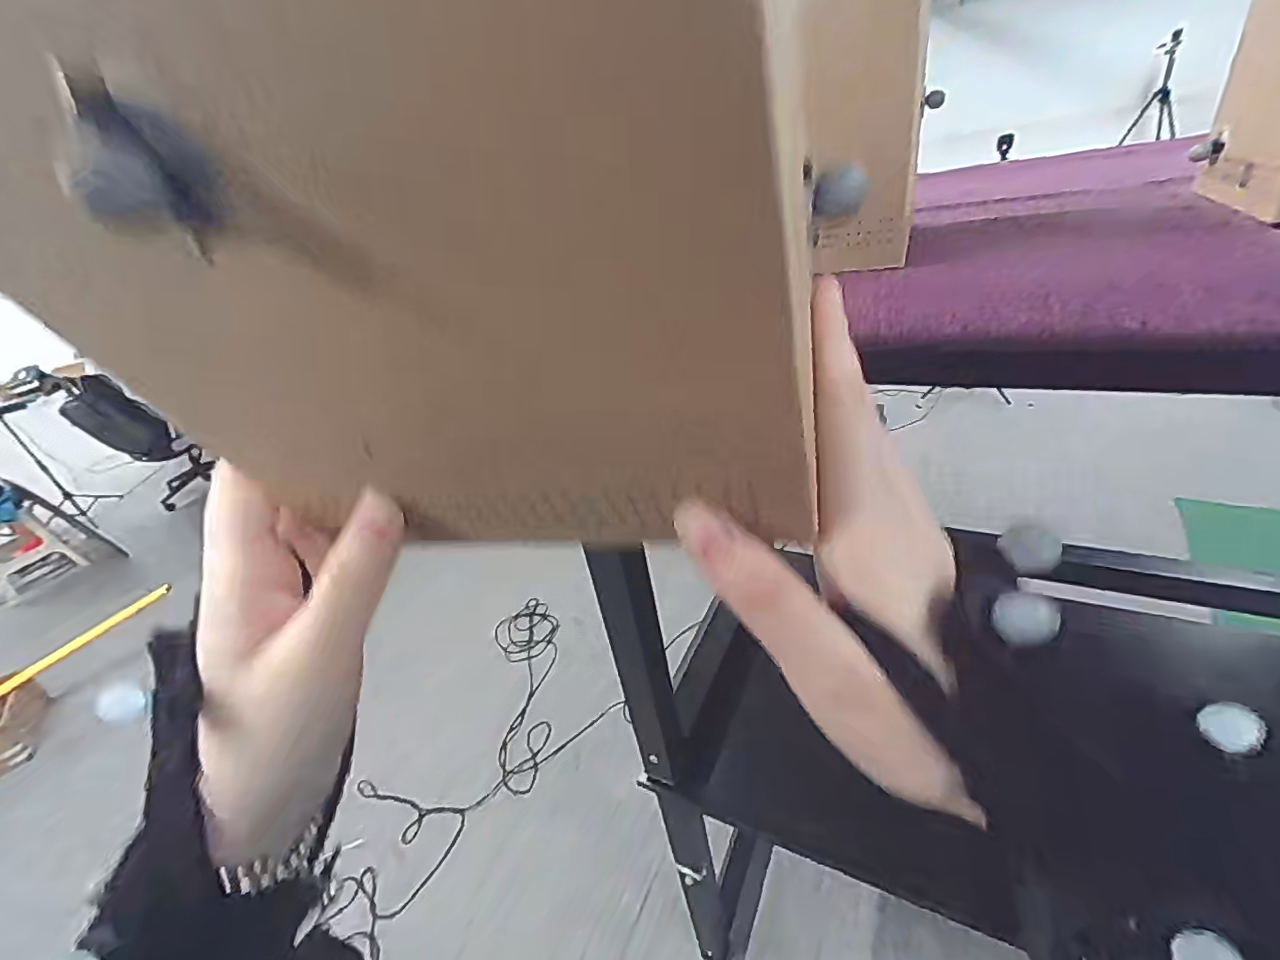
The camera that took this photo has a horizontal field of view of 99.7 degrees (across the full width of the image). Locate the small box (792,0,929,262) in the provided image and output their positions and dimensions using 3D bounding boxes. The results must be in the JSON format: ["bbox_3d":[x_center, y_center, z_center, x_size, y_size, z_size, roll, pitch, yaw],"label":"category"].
[{"bbox_3d":[0.116,-0.266,0.403,0.168,0.176,0.179,4,36,26],"label":"small box"}]

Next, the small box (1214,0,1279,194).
[{"bbox_3d":[0.438,-0.248,0.265,0.179,0.176,0.168,8,35,28],"label":"small box"}]

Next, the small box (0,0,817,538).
[{"bbox_3d":[-0.047,-0.093,0.158,0.179,0.176,0.168,-3,52,19],"label":"small box"}]
